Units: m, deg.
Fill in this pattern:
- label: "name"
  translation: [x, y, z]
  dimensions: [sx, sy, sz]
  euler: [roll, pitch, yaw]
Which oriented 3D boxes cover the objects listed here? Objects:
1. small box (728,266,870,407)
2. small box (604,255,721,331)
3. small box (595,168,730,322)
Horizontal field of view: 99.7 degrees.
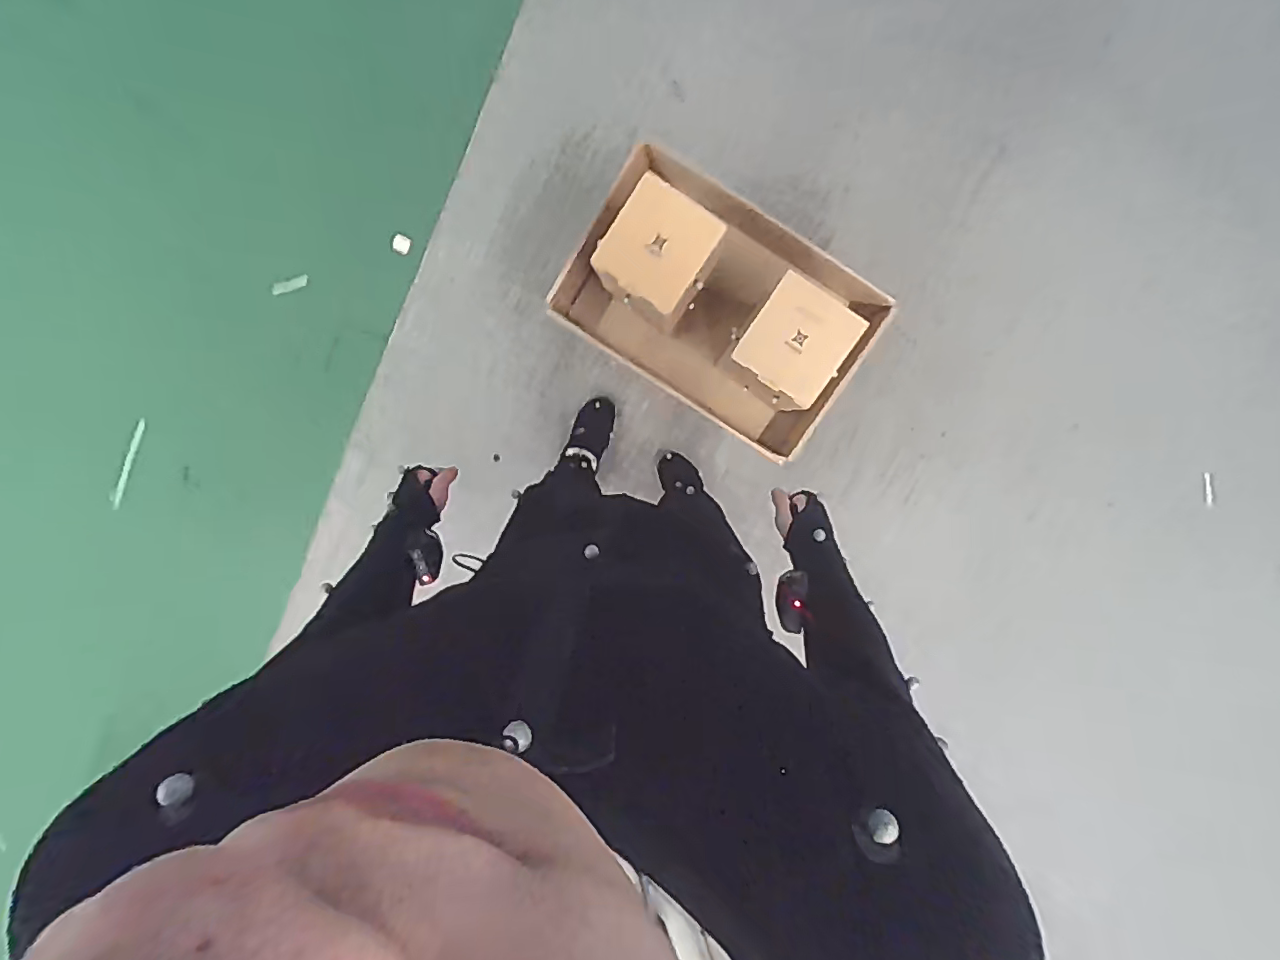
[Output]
- label: "small box"
  translation: [0.274, -0.248, 0.981]
  dimensions: [0.168, 0.176, 0.179]
  euler: [35, 98, -2]
- label: "small box"
  translation: [0.049, -0.434, 1.143]
  dimensions: [0.179, 0.176, 0.168]
  euler: [37, 99, -2]
- label: "small box"
  translation: [0.040, -0.412, 0.981]
  dimensions: [0.168, 0.176, 0.179]
  euler: [35, 100, -1]
